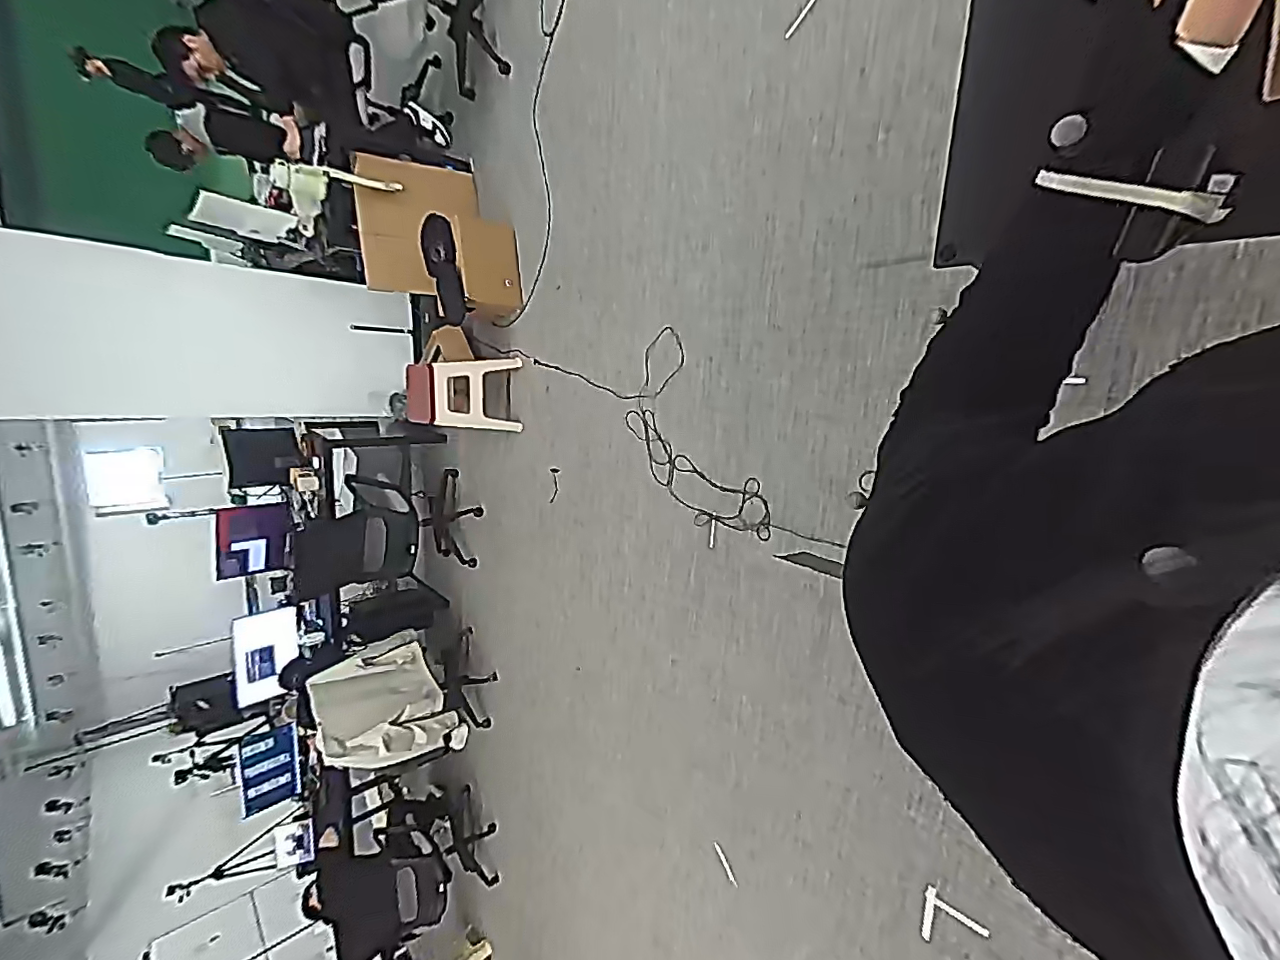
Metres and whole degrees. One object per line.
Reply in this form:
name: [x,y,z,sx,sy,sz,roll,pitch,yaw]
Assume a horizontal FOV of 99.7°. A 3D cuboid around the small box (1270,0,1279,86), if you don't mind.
small box: [0.587,-0.427,0.386,0.168,0.176,0.179,6,101,47]
